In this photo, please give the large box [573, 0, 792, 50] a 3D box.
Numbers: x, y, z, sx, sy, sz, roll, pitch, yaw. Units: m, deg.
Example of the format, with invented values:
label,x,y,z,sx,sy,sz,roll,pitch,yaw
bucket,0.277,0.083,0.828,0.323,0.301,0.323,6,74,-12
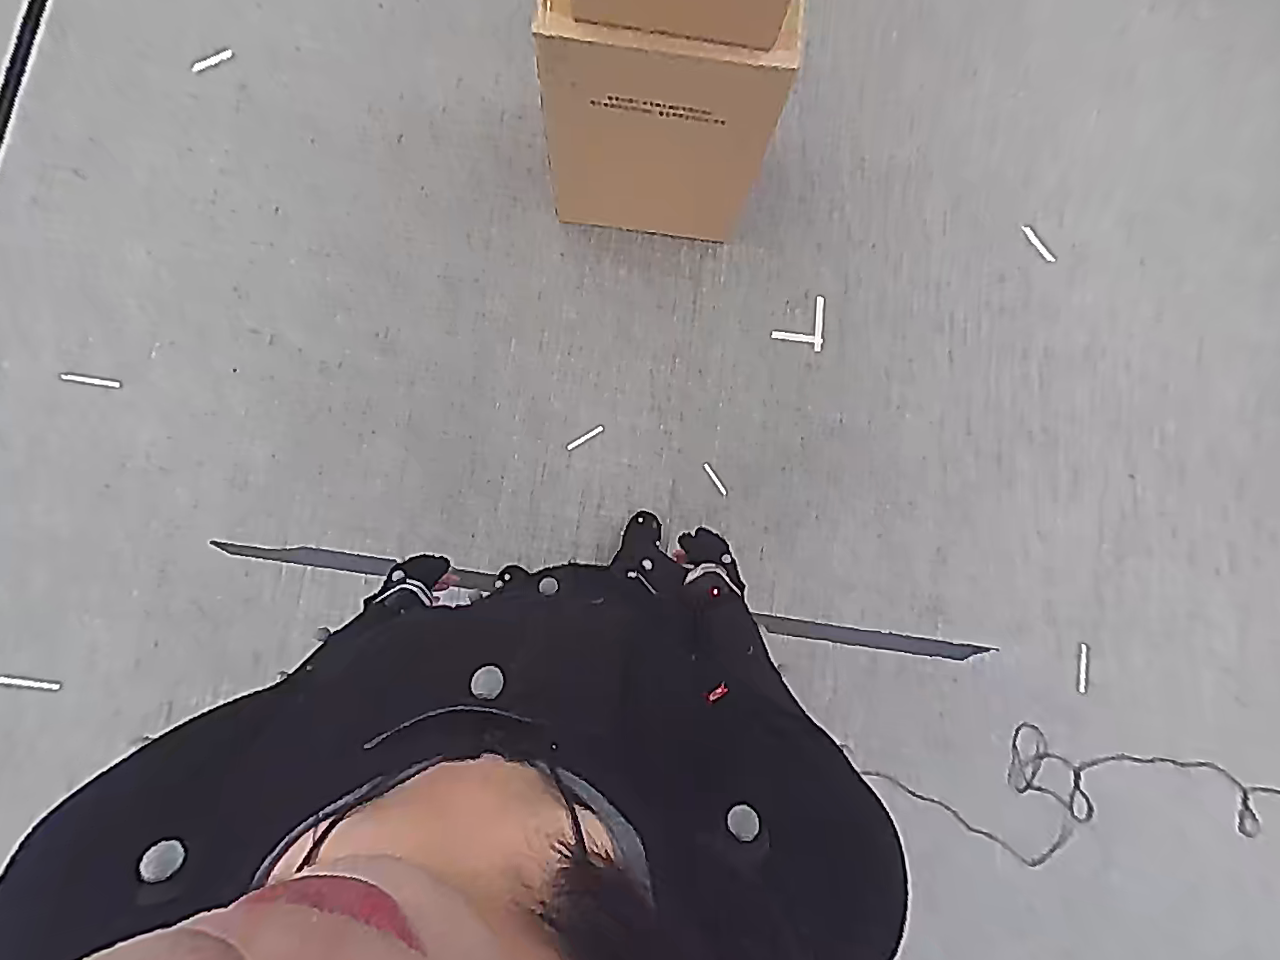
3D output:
label,x,y,z,sx,sy,sz,roll,pitch,yaw
large box,0.092,-1.030,0.929,0.408,0.320,0.320,6,84,-4
